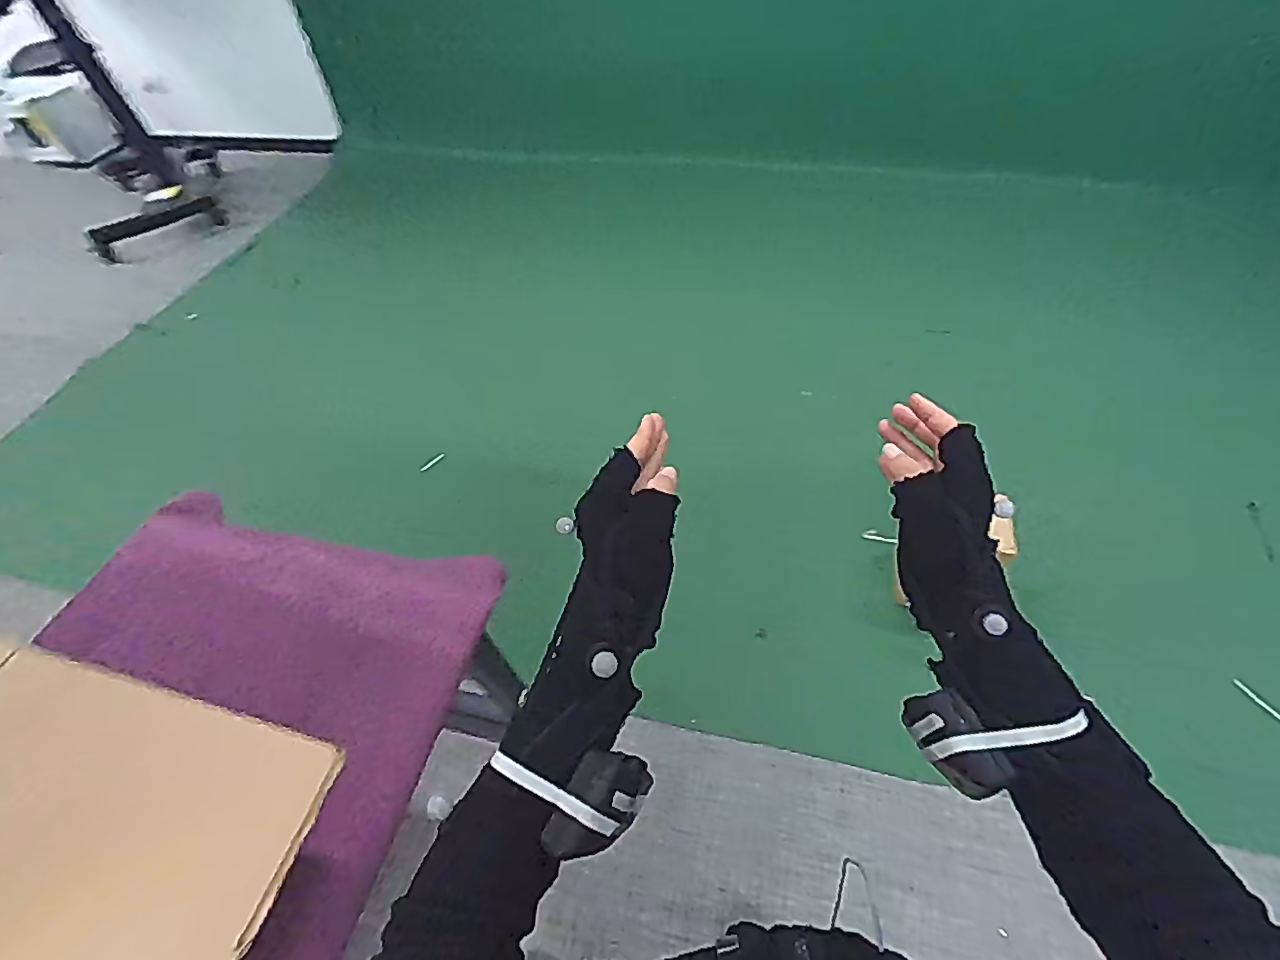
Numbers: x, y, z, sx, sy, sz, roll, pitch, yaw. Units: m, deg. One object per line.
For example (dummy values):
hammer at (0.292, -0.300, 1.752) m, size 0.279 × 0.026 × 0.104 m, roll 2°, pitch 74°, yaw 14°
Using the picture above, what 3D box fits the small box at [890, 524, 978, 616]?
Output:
small box at (0.799, 0.250, 1.483) m, size 0.168 × 0.176 × 0.179 m, roll 11°, pitch 53°, yaw 11°
